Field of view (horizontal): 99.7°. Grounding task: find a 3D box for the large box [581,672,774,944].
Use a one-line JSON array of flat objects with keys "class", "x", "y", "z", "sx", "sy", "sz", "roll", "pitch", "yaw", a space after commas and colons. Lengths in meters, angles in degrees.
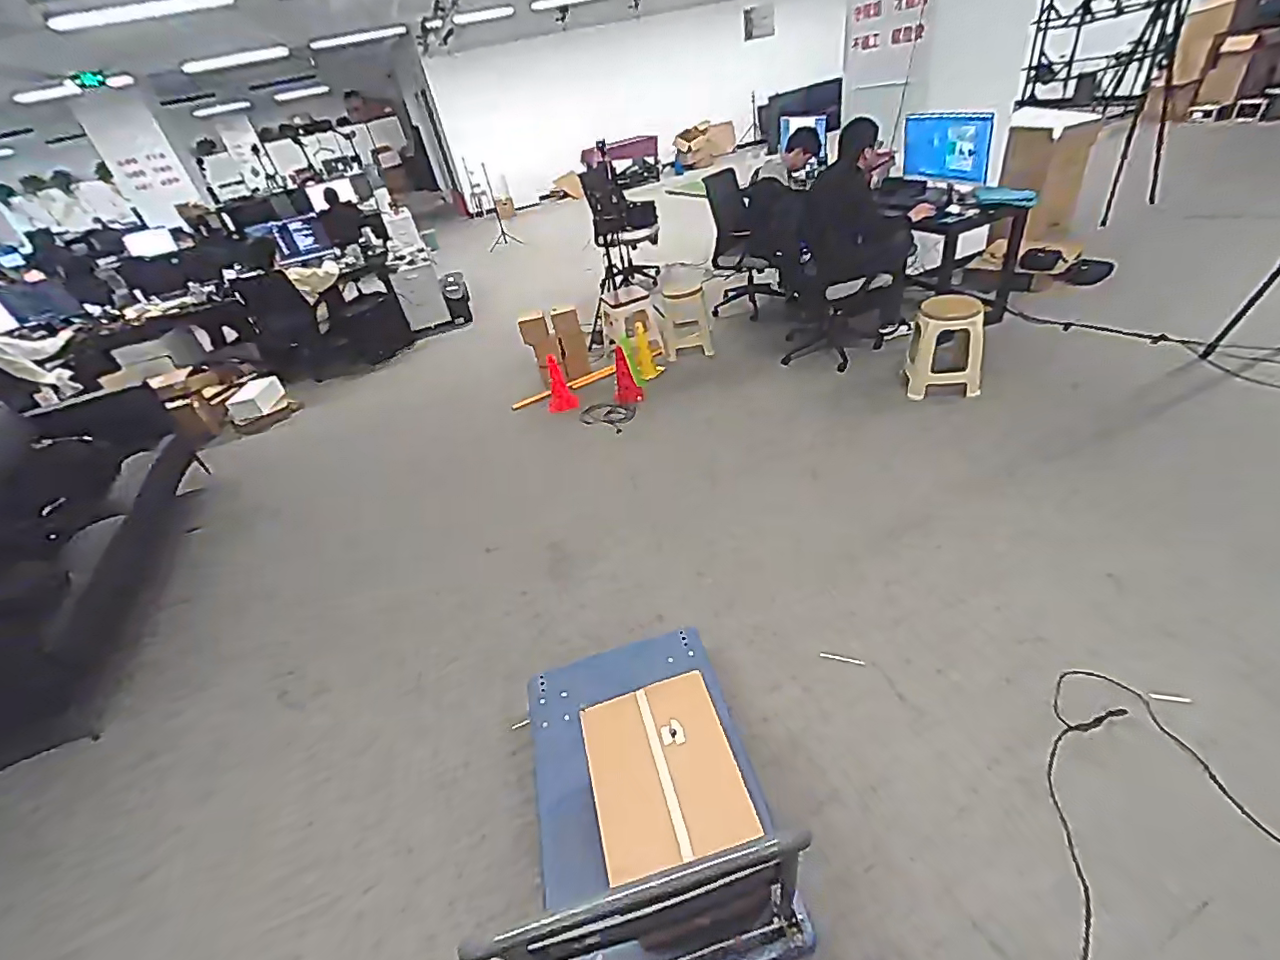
[{"class": "large box", "x": 0.079, "y": 0.743, "z": 1.257, "sx": 0.320, "sy": 0.320, "sz": 0.408, "roll": -16, "pitch": 36, "yaw": -6}]
